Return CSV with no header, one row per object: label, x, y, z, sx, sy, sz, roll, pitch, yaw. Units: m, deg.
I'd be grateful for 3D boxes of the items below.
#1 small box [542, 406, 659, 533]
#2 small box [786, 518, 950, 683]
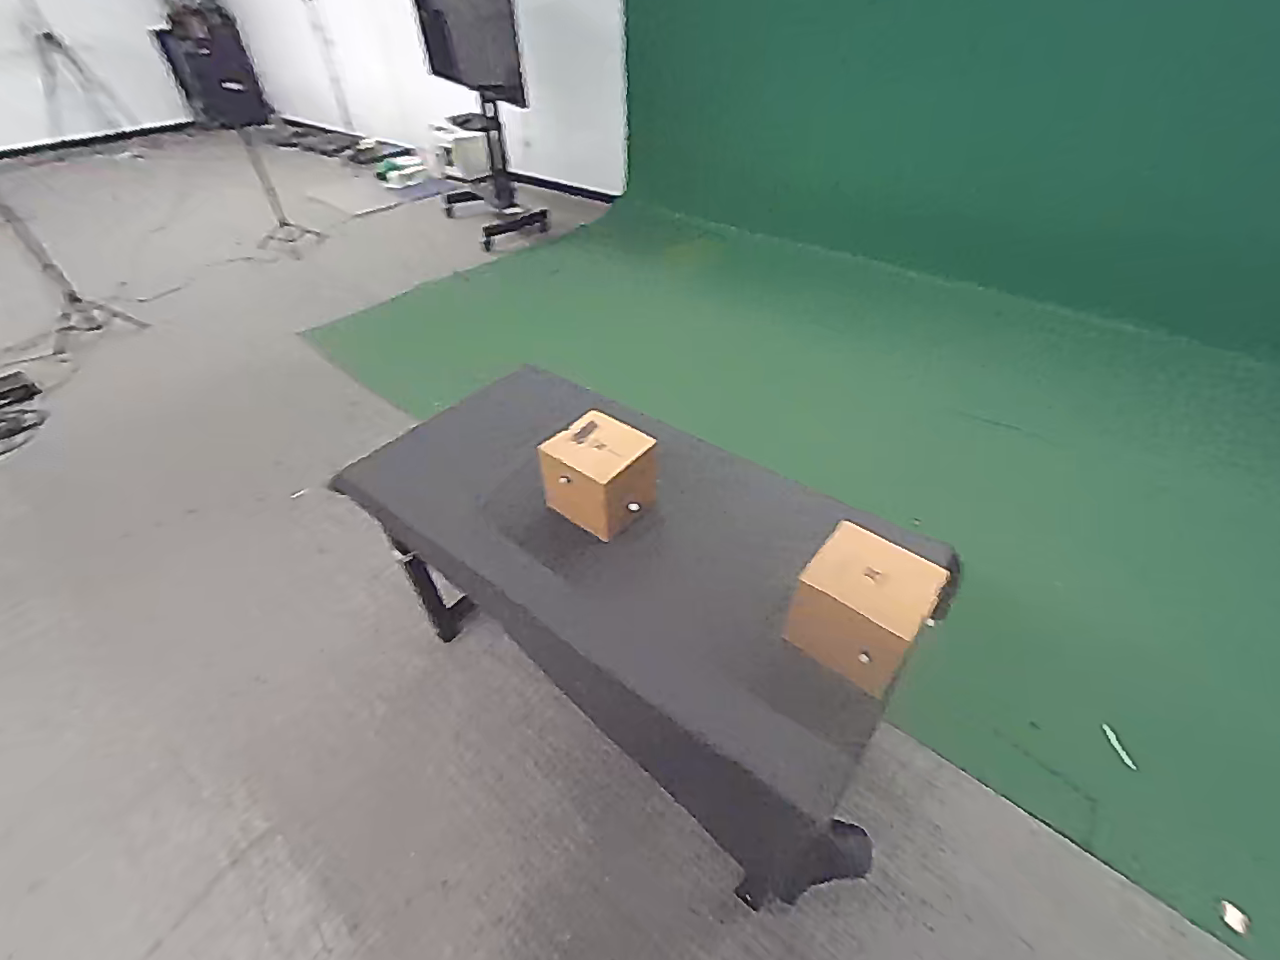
small box,-0.078,-0.021,1.129,0.179,0.176,0.168,29,52,27
small box,0.363,0.201,0.883,0.179,0.176,0.168,29,50,30
